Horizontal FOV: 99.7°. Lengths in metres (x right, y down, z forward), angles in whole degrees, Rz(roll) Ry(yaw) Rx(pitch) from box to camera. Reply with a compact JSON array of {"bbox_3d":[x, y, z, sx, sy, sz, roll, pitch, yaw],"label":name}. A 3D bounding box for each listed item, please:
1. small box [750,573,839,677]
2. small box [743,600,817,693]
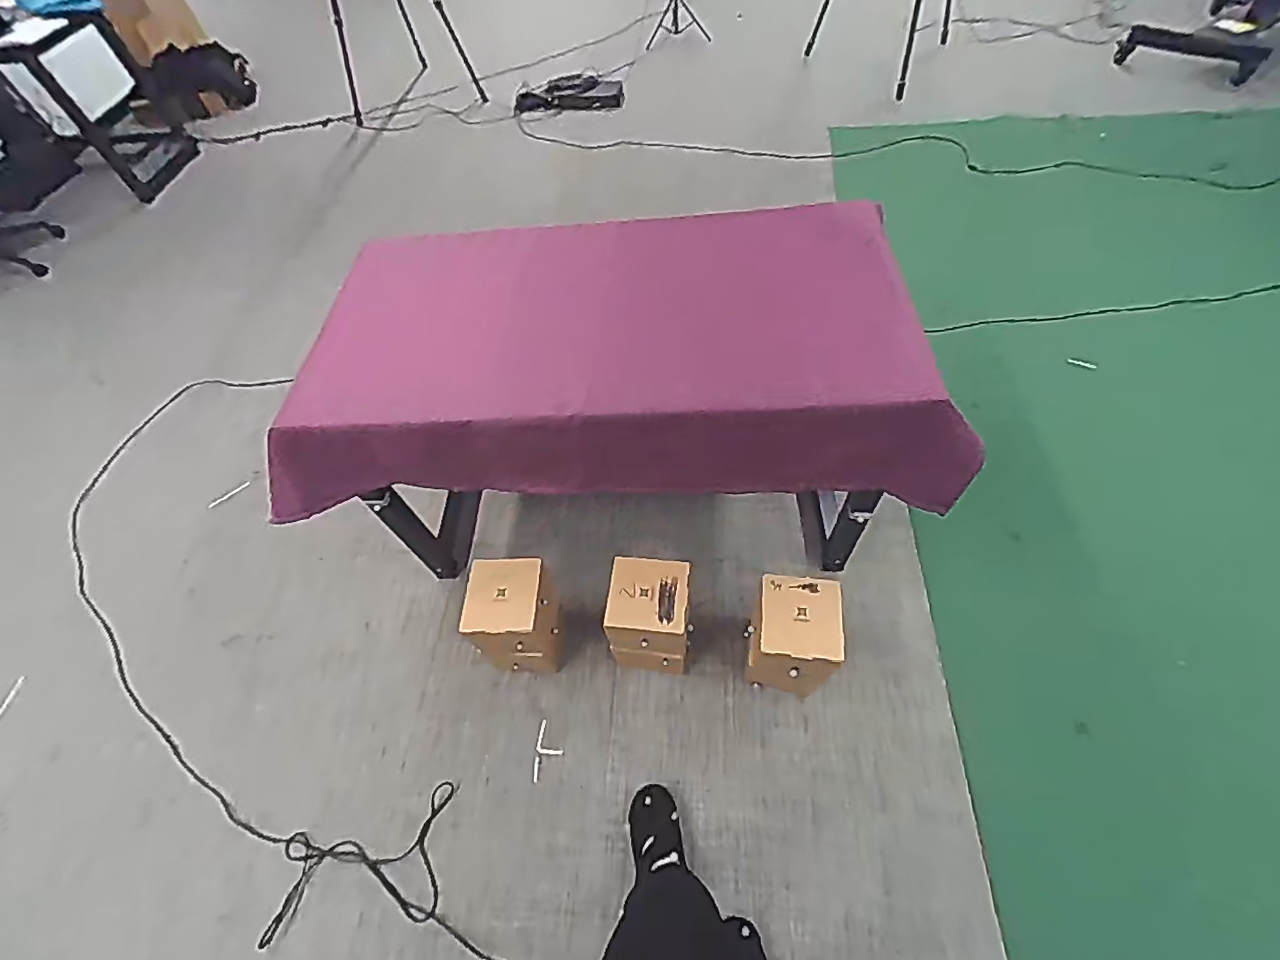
[{"bbox_3d":[0.339,0.327,1.201,0.168,0.176,0.179,6,59,7],"label":"small box"},{"bbox_3d":[0.350,0.413,1.343,0.168,0.176,0.179,8,57,11],"label":"small box"}]
